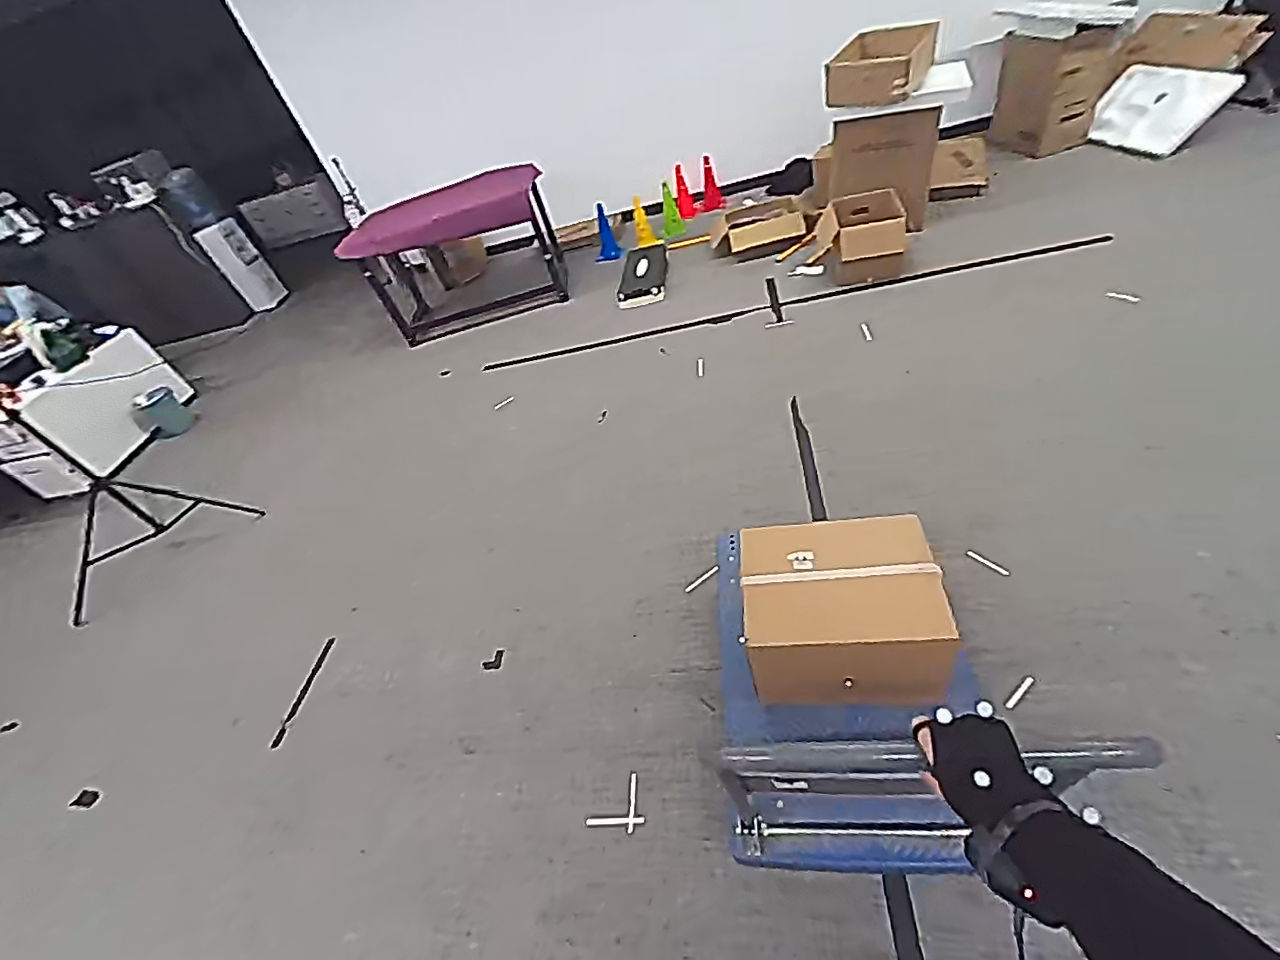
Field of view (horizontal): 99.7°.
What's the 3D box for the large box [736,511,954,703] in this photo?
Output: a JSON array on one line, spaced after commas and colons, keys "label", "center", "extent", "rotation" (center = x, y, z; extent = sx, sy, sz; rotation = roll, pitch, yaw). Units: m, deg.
[{"label": "large box", "center": [0.454, 0.308, 1.267], "extent": [0.408, 0.320, 0.320], "rotation": [-8, 43, 15]}]
